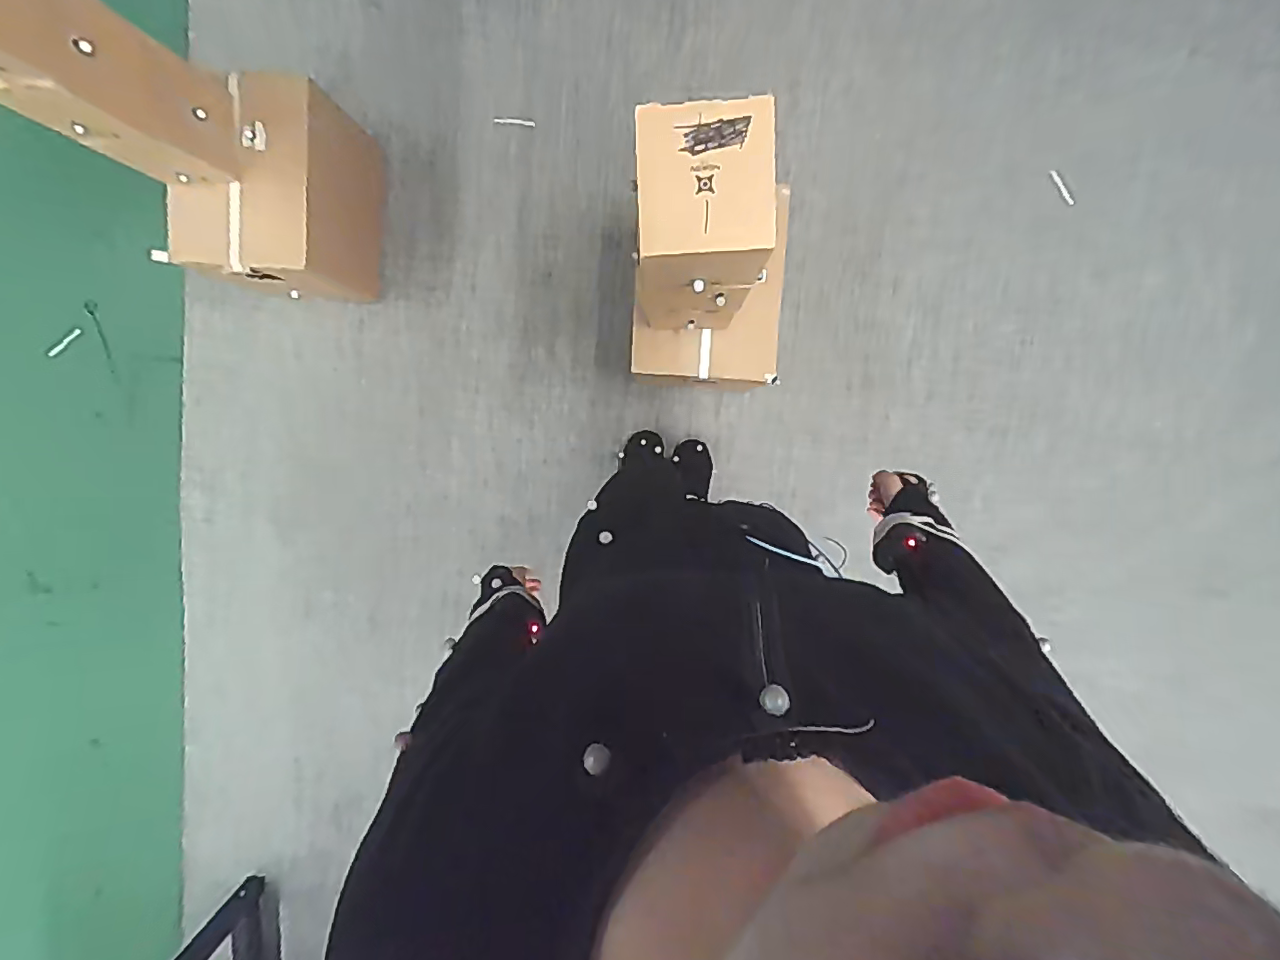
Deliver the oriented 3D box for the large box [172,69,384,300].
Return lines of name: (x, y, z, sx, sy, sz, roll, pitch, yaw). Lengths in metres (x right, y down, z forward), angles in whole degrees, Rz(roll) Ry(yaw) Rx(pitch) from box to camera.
large box: (-0.845, -0.677, 1.306, 0.320, 0.320, 0.408, 4, 95, 3)

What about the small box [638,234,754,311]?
small box: (0.090, -0.380, 0.888, 0.179, 0.176, 0.168, 1, 95, 4)

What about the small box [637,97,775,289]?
small box: (0.083, -0.368, 0.724, 0.168, 0.176, 0.179, -2, 96, 4)

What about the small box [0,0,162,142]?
small box: (-0.947, -0.699, 0.898, 0.168, 0.176, 0.179, 4, 97, 5)

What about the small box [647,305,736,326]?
small box: (0.101, -0.400, 1.052, 0.168, 0.176, 0.179, 1, 97, 4)

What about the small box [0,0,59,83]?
small box: (-0.956, -0.689, 0.736, 0.168, 0.176, 0.179, 6, 97, 6)
